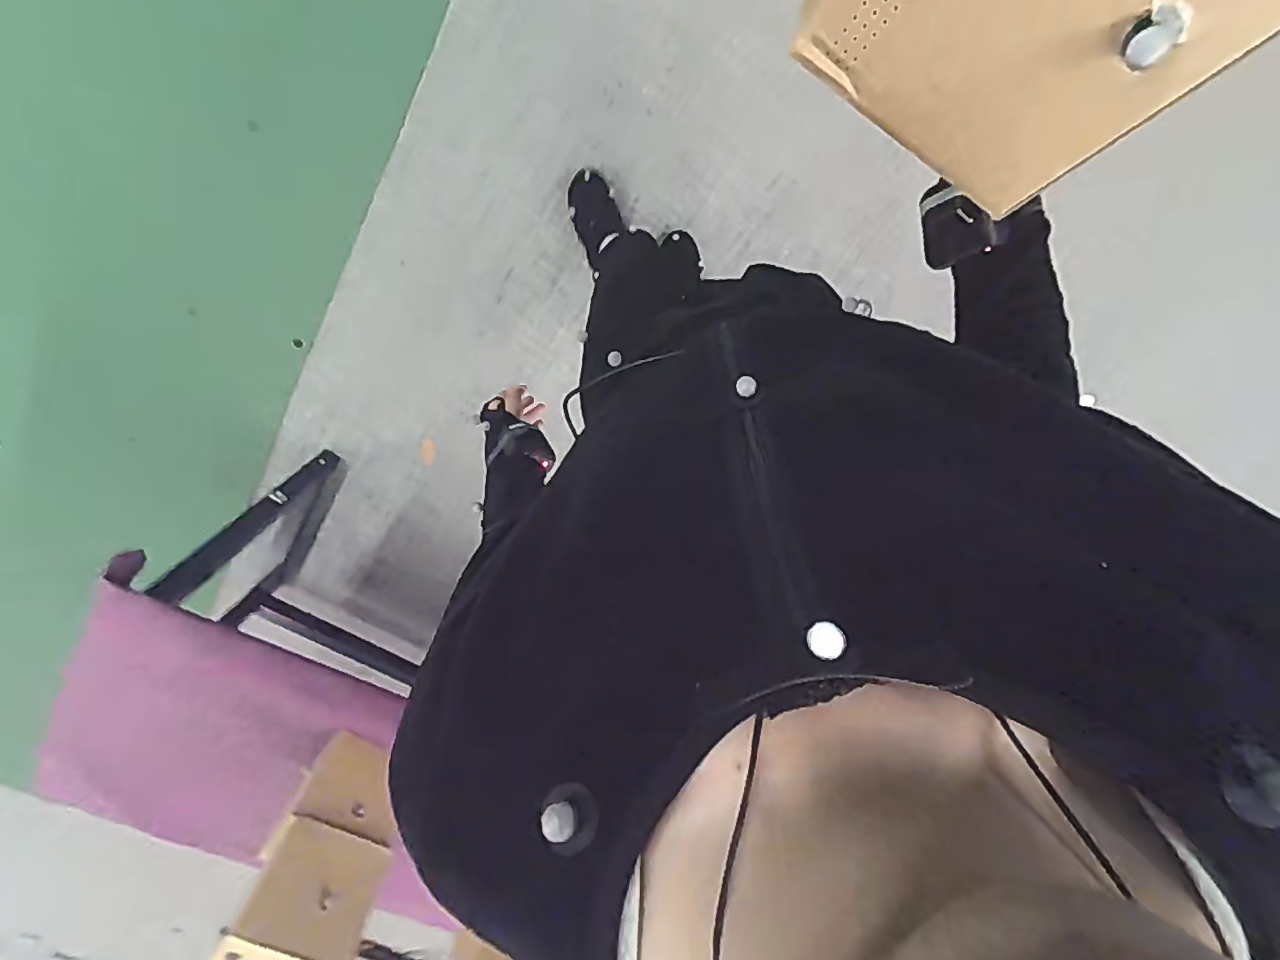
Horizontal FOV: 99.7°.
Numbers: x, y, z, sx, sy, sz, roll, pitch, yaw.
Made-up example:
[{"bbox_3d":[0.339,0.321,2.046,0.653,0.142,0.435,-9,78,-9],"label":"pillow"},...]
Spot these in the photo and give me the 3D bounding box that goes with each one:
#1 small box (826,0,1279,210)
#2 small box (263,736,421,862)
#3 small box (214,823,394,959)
[{"bbox_3d":[0.209,-0.282,0.253,0.176,0.168,0.179,25,159,-17],"label":"small box"},{"bbox_3d":[-0.542,0.615,1.008,0.179,0.176,0.168,34,113,-16],"label":"small box"},{"bbox_3d":[-0.528,0.686,0.860,0.179,0.176,0.168,33,113,-16],"label":"small box"}]
